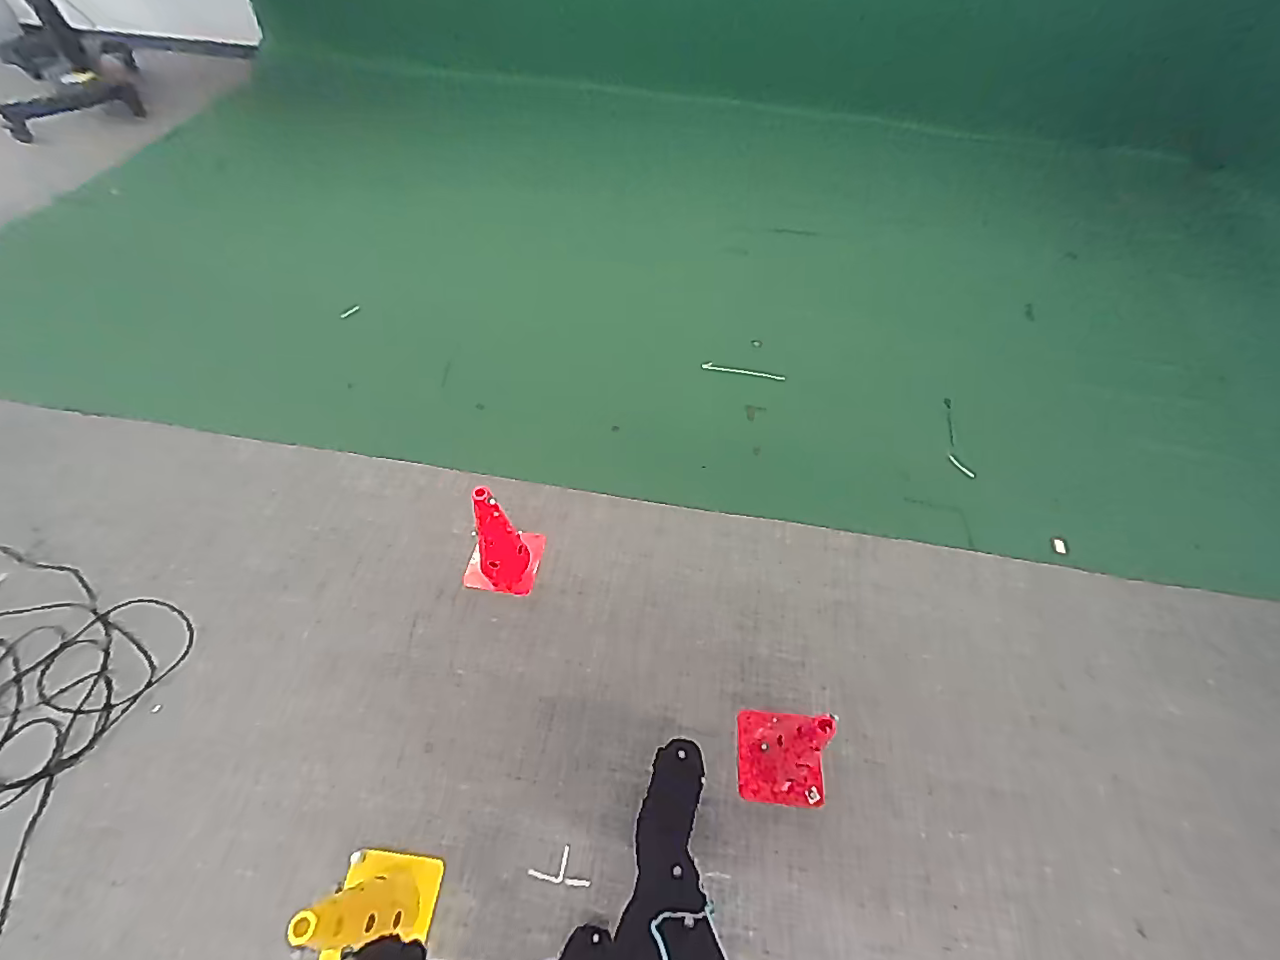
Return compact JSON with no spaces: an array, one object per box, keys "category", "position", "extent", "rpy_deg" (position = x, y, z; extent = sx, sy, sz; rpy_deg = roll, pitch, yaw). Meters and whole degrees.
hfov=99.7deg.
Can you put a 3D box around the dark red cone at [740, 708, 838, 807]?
[{"category":"dark red cone","position":[0.343,0.557,1.146],"extent":[0.202,0.394,0.201],"rpy_deg":[4,53,1]}]

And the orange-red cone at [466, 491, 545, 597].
[{"category":"orange-red cone","position":[-0.390,0.144,1.446],"extent":[0.198,0.360,0.199],"rpy_deg":[8,55,5]}]
